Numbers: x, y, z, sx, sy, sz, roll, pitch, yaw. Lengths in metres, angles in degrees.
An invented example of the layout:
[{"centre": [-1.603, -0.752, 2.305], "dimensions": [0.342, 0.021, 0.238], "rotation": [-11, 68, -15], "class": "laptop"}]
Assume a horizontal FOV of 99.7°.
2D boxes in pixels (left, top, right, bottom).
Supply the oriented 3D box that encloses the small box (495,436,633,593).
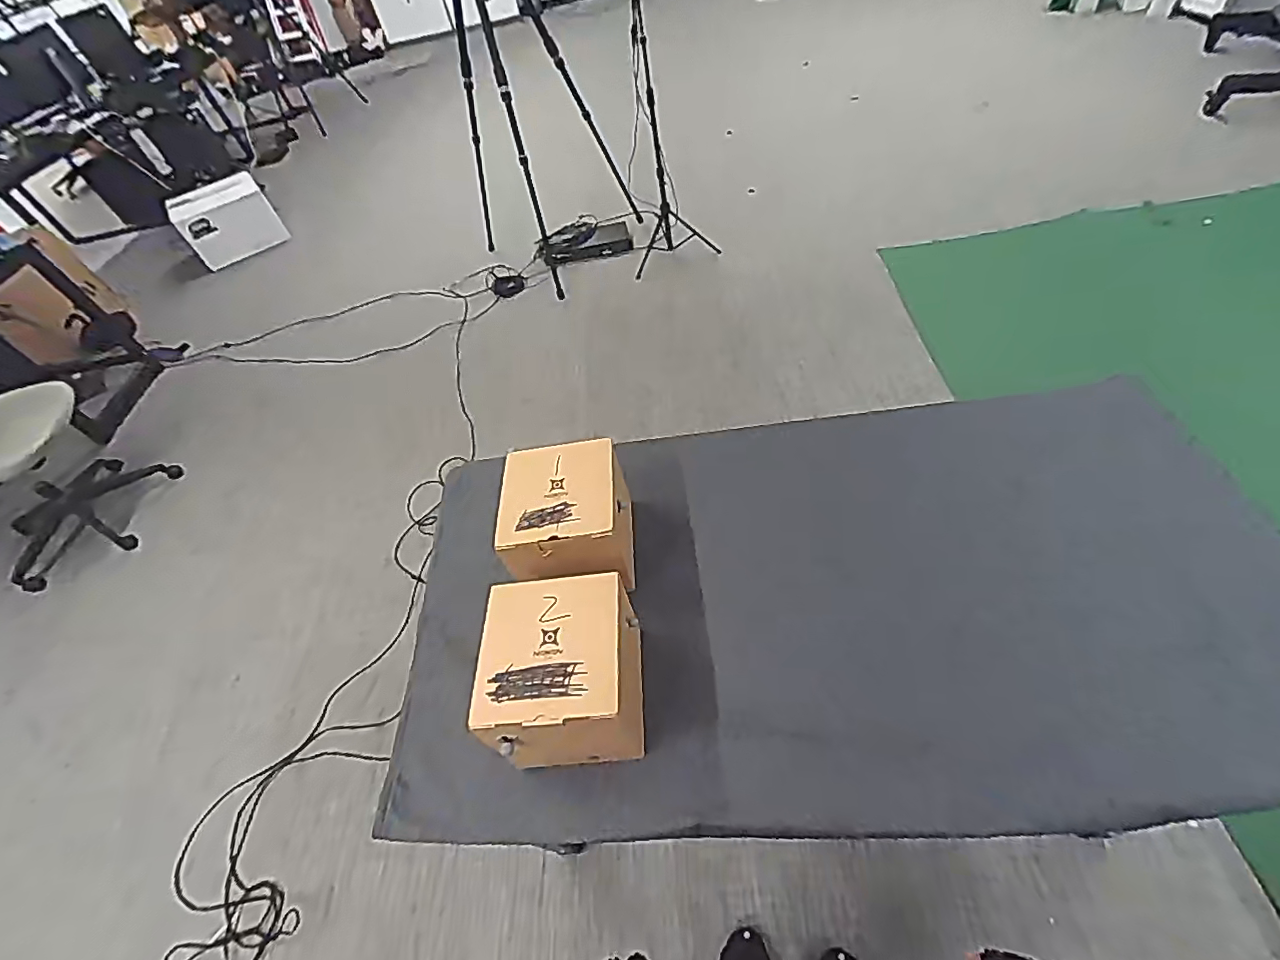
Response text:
[{"centre": [-0.106, 0.061, 0.830], "dimensions": [0.168, 0.176, 0.179], "rotation": [-8, 50, 5], "class": "small box"}]
